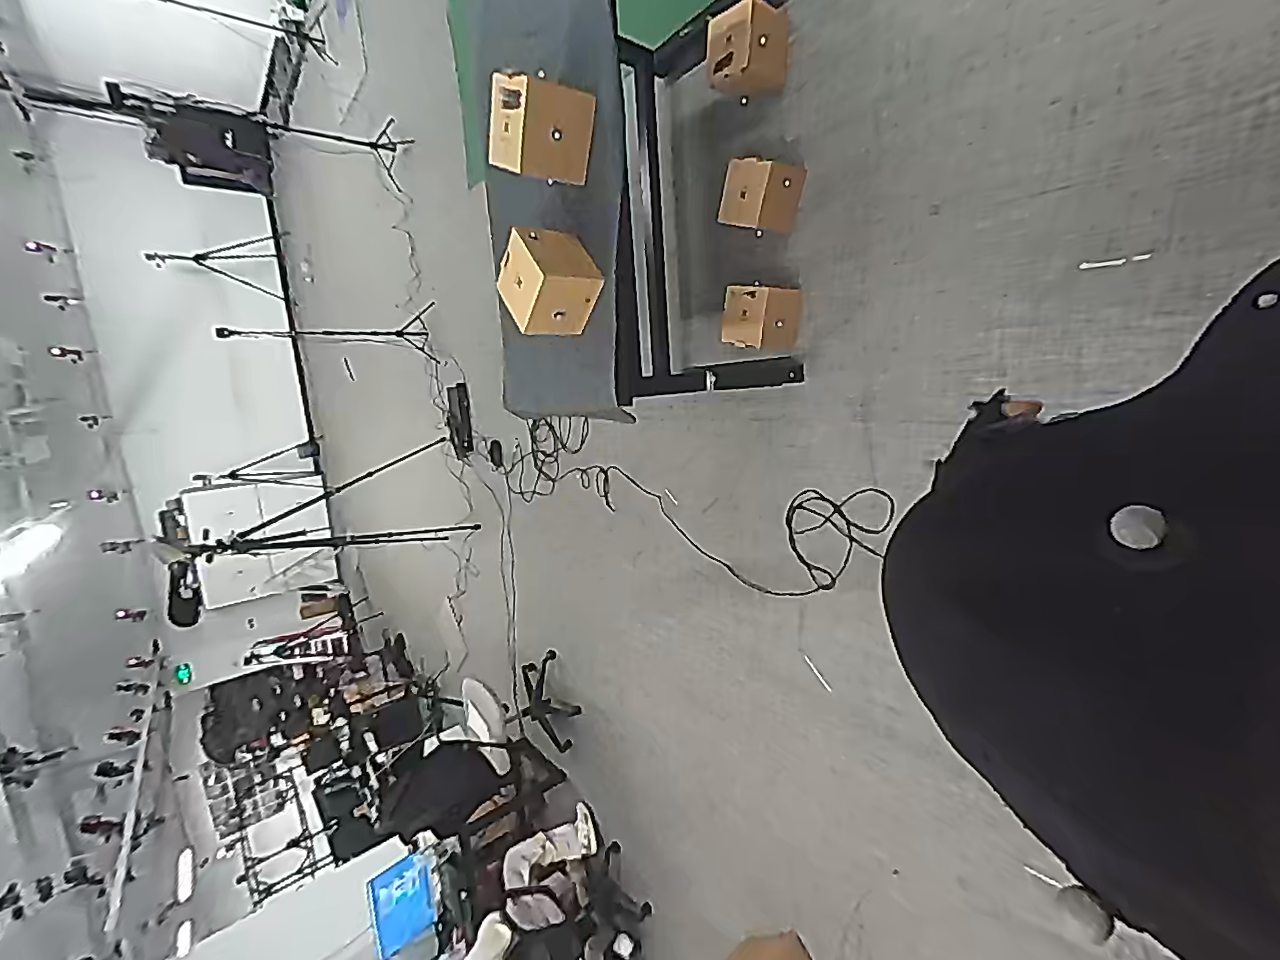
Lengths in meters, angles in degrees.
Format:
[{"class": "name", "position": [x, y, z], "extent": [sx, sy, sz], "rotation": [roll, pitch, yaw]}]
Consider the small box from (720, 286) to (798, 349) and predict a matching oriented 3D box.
[{"class": "small box", "position": [0.376, -0.514, 1.703], "extent": [0.168, 0.176, 0.179], "rotation": [25, 119, 45]}]

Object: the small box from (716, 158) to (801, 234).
[{"class": "small box", "position": [0.360, -0.853, 1.631], "extent": [0.168, 0.176, 0.179], "rotation": [35, 126, 42]}]

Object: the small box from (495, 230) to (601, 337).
[{"class": "small box", "position": [-0.217, -0.460, 1.276], "extent": [0.179, 0.176, 0.168], "rotation": [59, 138, 23]}]

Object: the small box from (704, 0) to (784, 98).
[{"class": "small box", "position": [0.306, -1.254, 1.587], "extent": [0.168, 0.176, 0.179], "rotation": [16, 111, 48]}]
